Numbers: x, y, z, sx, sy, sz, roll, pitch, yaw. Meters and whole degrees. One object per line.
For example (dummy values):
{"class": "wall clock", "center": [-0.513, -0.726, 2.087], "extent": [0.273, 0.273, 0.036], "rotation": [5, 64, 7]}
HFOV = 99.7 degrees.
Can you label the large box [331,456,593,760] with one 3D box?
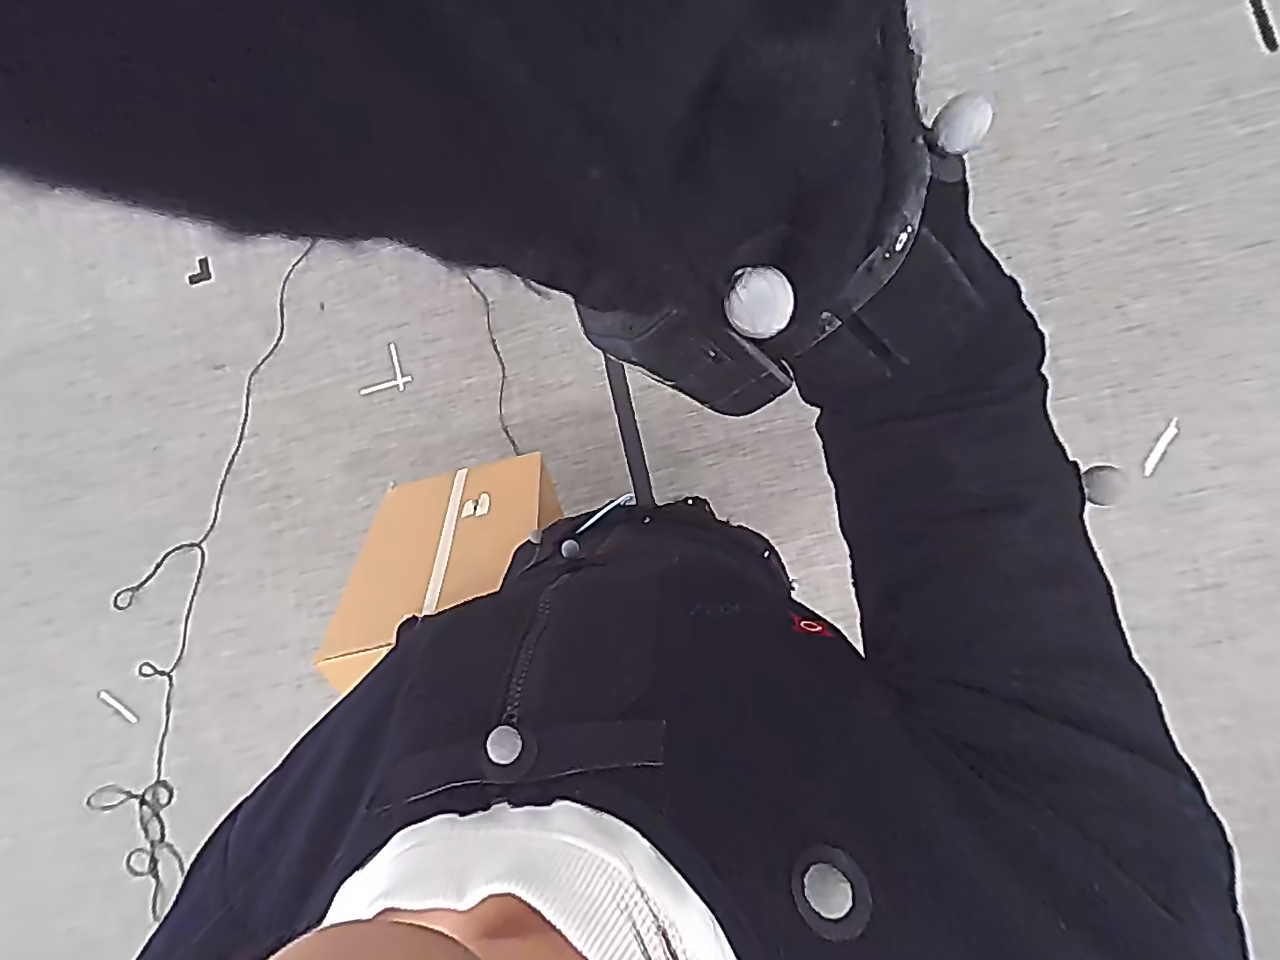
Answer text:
{"class": "large box", "center": [-0.281, 0.218, 0.993], "extent": [0.320, 0.408, 0.320], "rotation": [-12, 126, 1]}
